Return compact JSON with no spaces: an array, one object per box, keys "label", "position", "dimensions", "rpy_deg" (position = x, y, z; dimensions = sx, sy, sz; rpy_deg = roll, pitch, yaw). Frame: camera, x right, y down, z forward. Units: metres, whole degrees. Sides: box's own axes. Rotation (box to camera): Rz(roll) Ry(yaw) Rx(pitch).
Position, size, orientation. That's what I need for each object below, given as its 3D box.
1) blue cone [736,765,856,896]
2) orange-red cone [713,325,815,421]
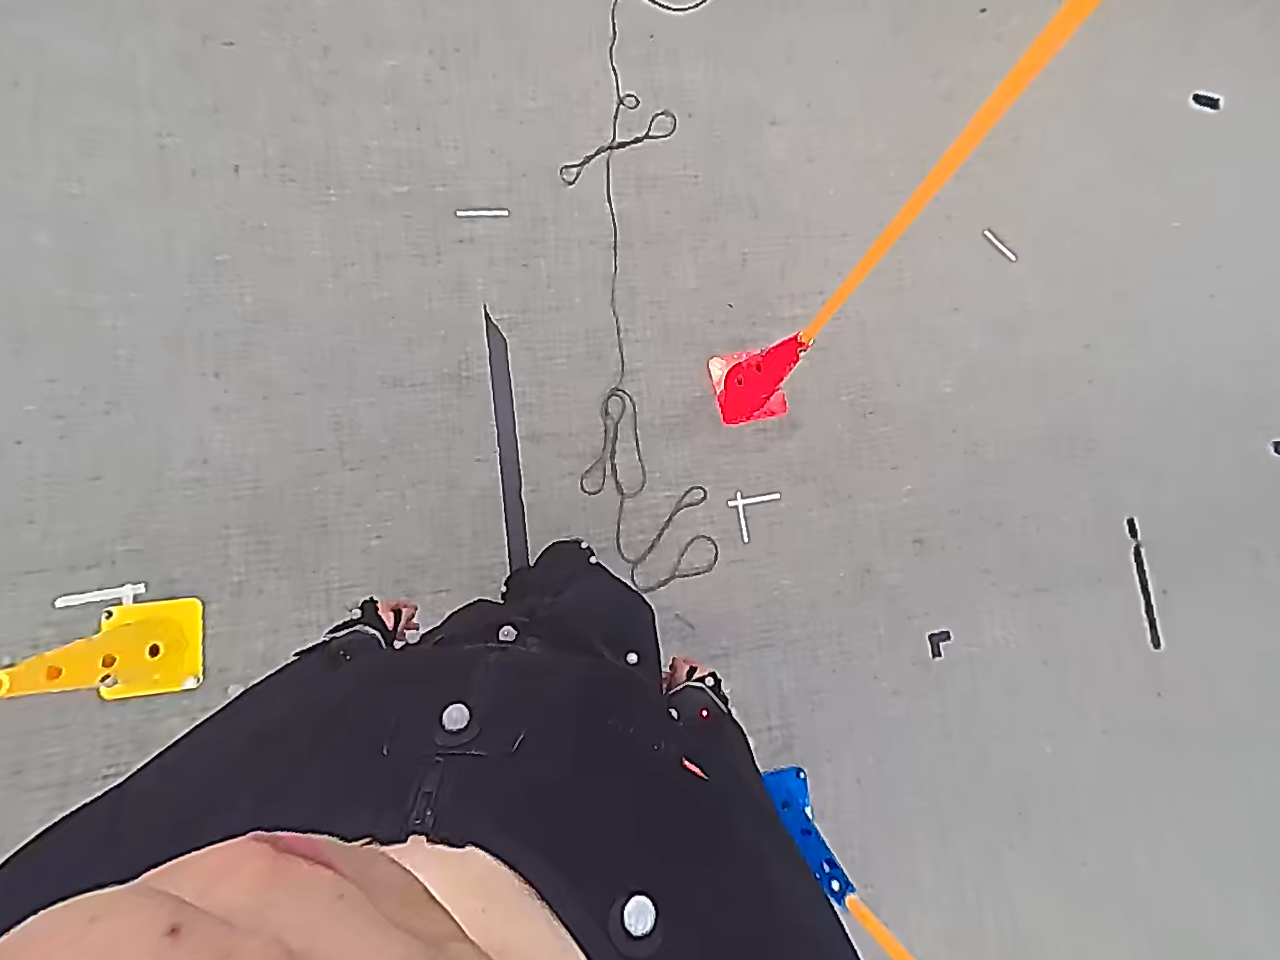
[{"label":"blue cone","position":[0.369,0.810,1.207],"dimensions":[0.193,0.380,0.192],"rpy_deg":[-4,82,-10]},{"label":"orange-red cone","position":[0.336,-0.292,1.340],"dimensions":[0.199,0.360,0.198],"rpy_deg":[-12,84,-9]}]
